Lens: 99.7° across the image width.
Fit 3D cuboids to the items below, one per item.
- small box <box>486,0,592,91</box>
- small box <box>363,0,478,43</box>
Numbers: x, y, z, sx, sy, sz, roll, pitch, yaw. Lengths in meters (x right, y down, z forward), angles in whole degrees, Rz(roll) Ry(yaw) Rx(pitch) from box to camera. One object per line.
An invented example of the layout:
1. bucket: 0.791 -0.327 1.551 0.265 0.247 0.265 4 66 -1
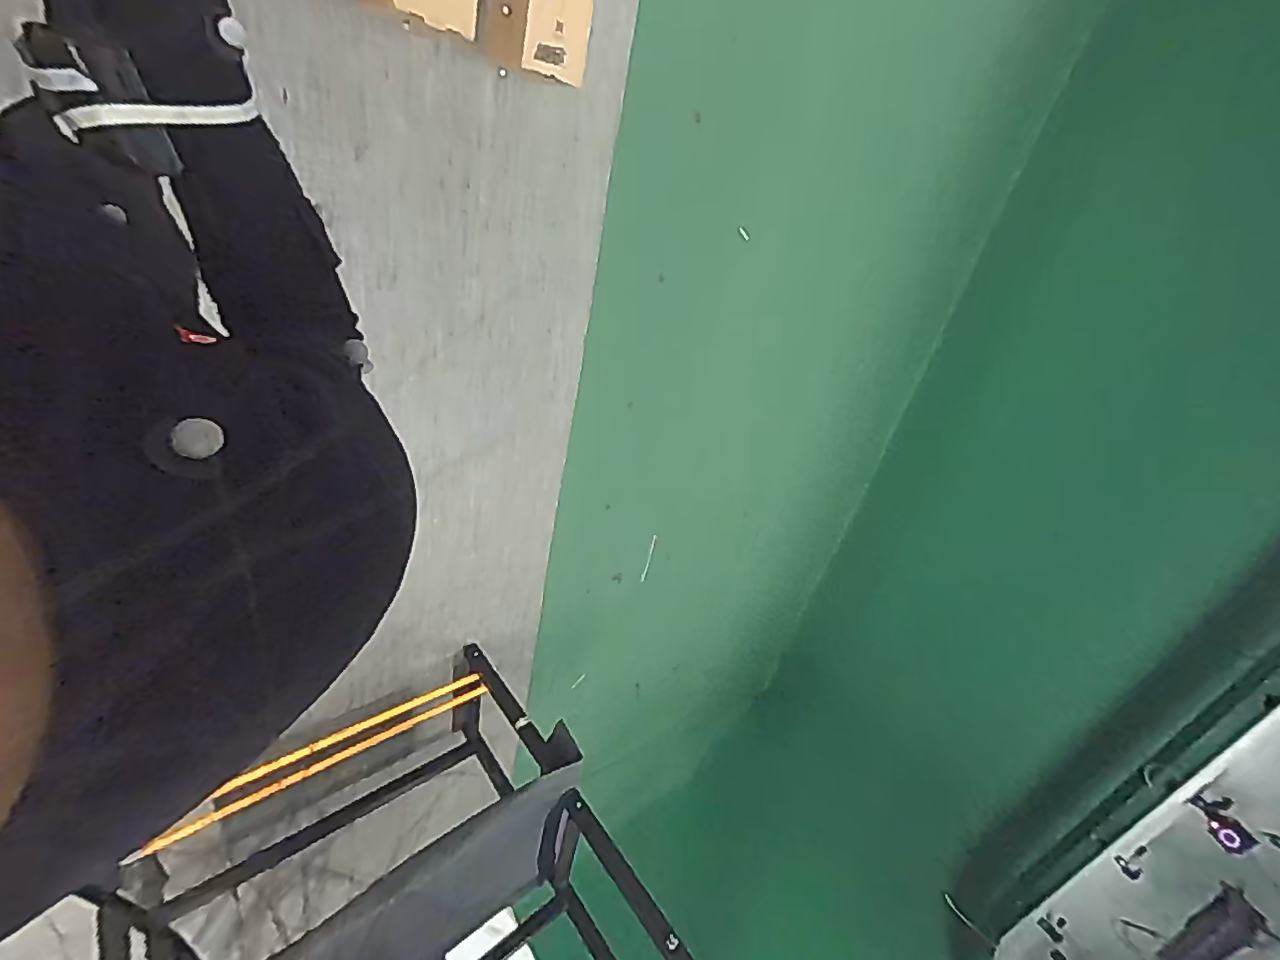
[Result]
1. small box: -0.236 -1.022 1.237 0.168 0.176 0.179 -12 128 -42
2. small box: -0.429 -0.990 1.052 0.168 0.176 0.179 -12 128 -42
